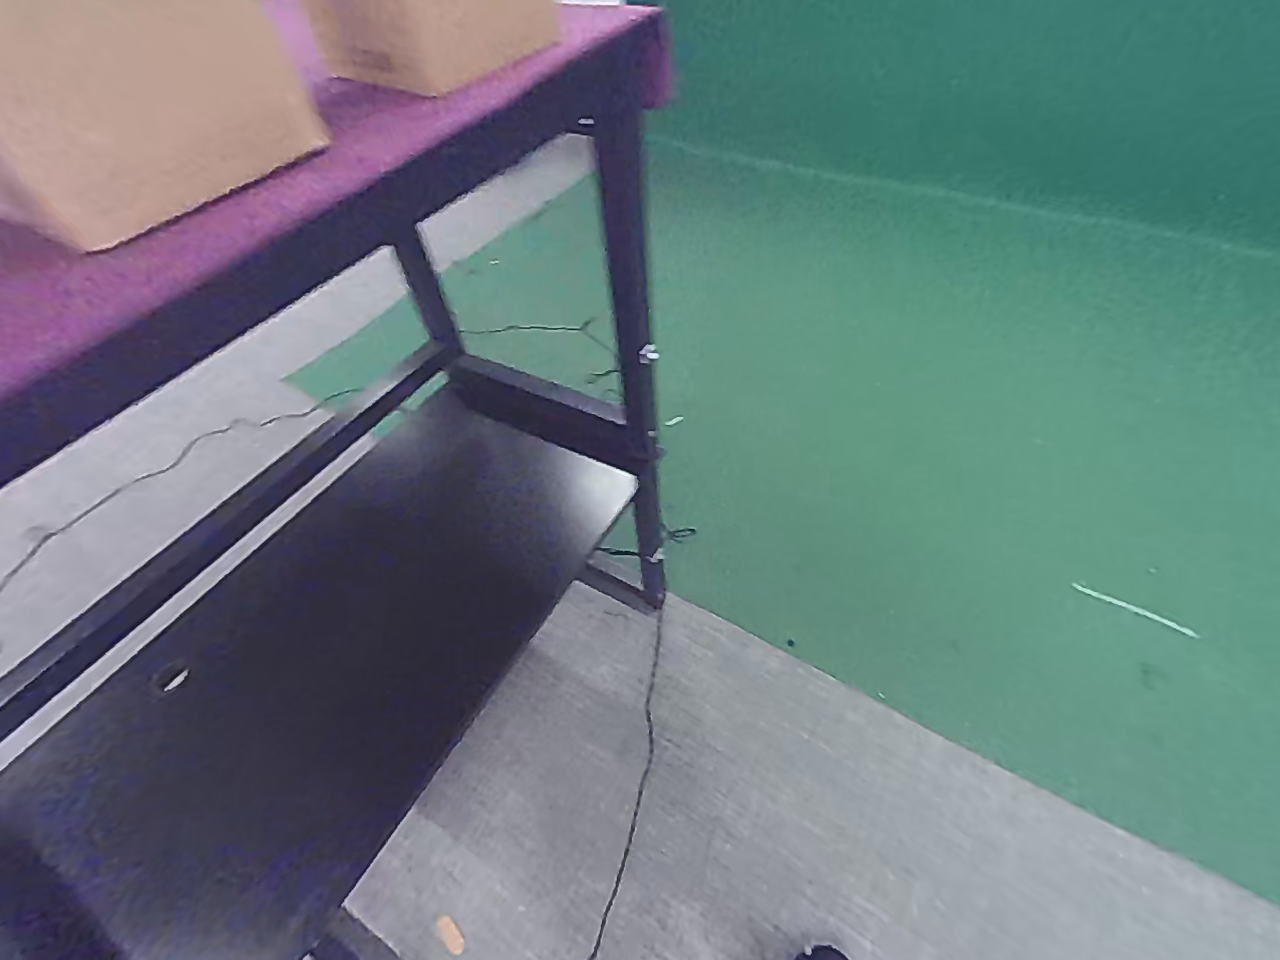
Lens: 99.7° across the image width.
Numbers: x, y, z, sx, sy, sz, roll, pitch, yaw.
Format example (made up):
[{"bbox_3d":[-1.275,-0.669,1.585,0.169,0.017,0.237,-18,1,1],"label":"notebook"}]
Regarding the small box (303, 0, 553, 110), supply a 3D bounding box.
[{"bbox_3d":[-0.201,-0.469,0.498,0.168,0.176,0.179,27,58,23],"label":"small box"}]
